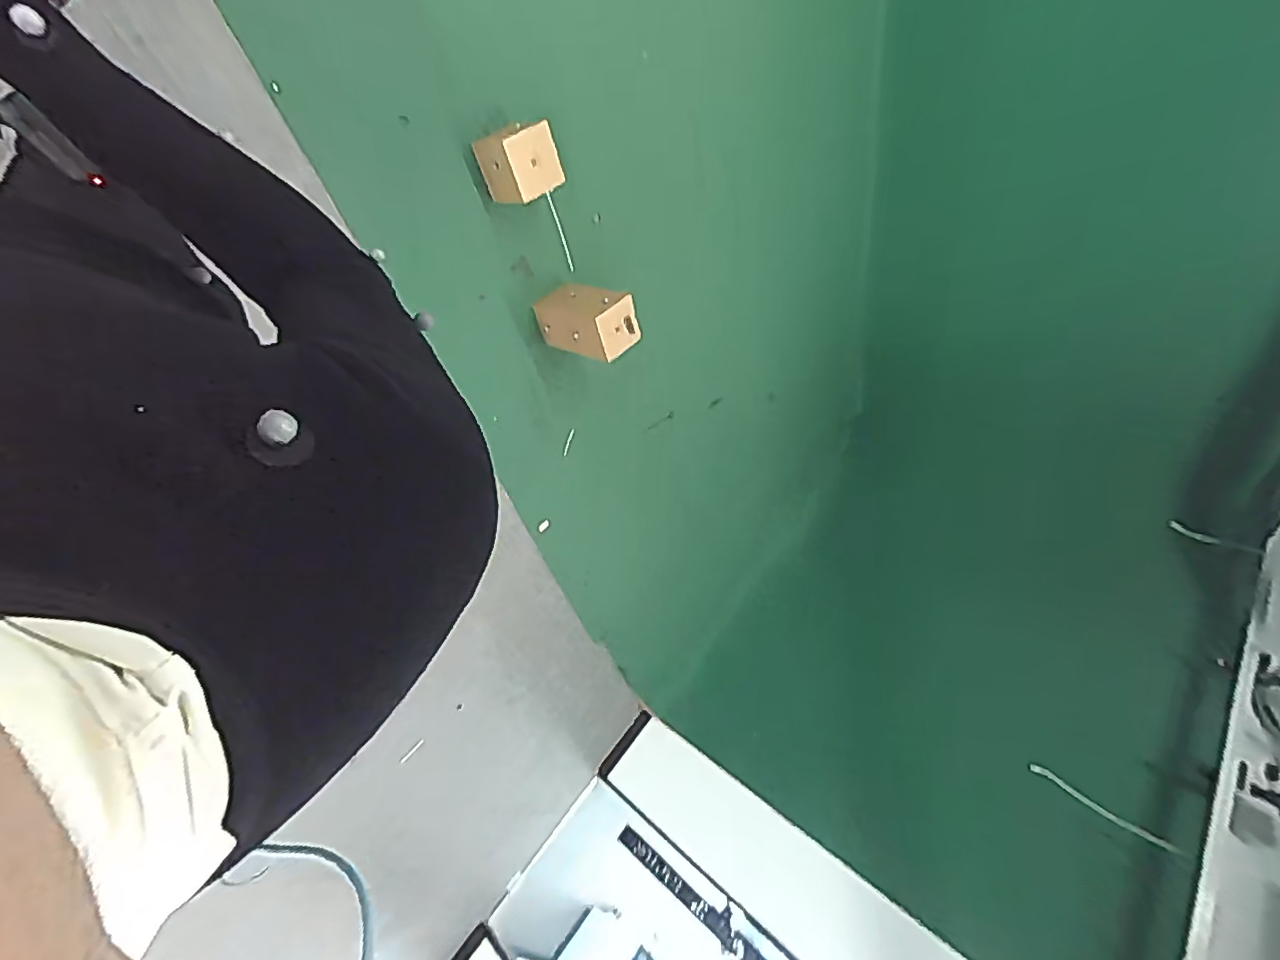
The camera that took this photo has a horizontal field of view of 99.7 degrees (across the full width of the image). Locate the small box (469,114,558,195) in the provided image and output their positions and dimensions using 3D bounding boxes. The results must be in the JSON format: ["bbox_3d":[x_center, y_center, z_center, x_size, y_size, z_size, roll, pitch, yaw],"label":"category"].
[{"bbox_3d":[-0.383,-0.966,1.614,0.179,0.176,0.168,-46,139,-27],"label":"small box"}]

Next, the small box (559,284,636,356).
[{"bbox_3d":[-0.145,-0.554,1.851,0.179,0.176,0.168,-44,138,-26],"label":"small box"}]

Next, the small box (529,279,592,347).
[{"bbox_3d":[-0.267,-0.608,1.947,0.179,0.176,0.168,-44,138,-27],"label":"small box"}]
